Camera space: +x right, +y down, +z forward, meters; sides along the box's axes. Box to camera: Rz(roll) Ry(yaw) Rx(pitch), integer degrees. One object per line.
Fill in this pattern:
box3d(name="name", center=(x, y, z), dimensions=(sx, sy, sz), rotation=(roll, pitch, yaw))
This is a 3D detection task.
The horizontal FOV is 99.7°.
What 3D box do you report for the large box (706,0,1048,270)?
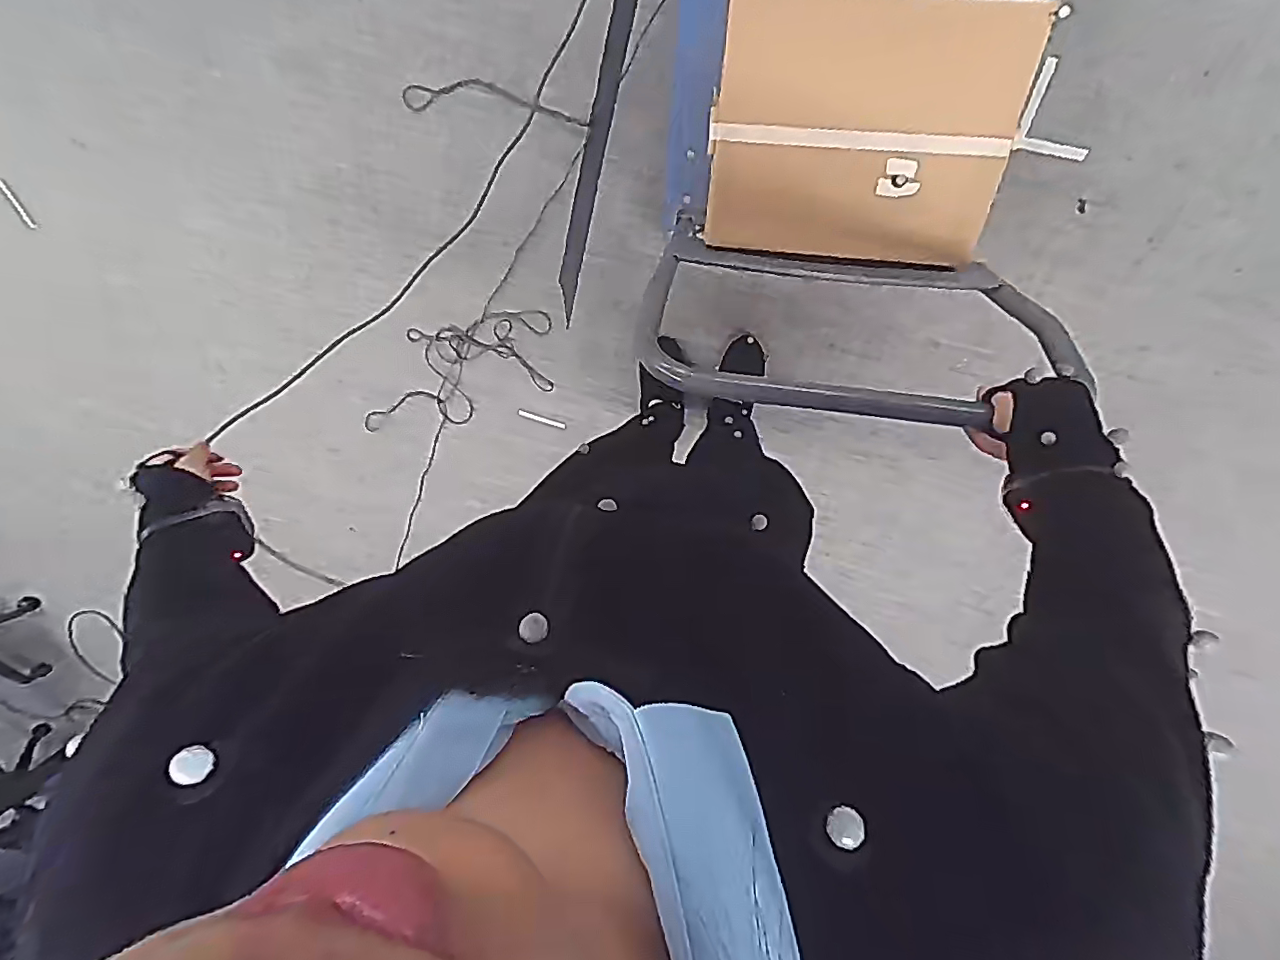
box3d(name="large box", center=(0.324, -0.546, 0.892), dimensions=(0.408, 0.320, 0.320), rotation=(7, 122, 5))
